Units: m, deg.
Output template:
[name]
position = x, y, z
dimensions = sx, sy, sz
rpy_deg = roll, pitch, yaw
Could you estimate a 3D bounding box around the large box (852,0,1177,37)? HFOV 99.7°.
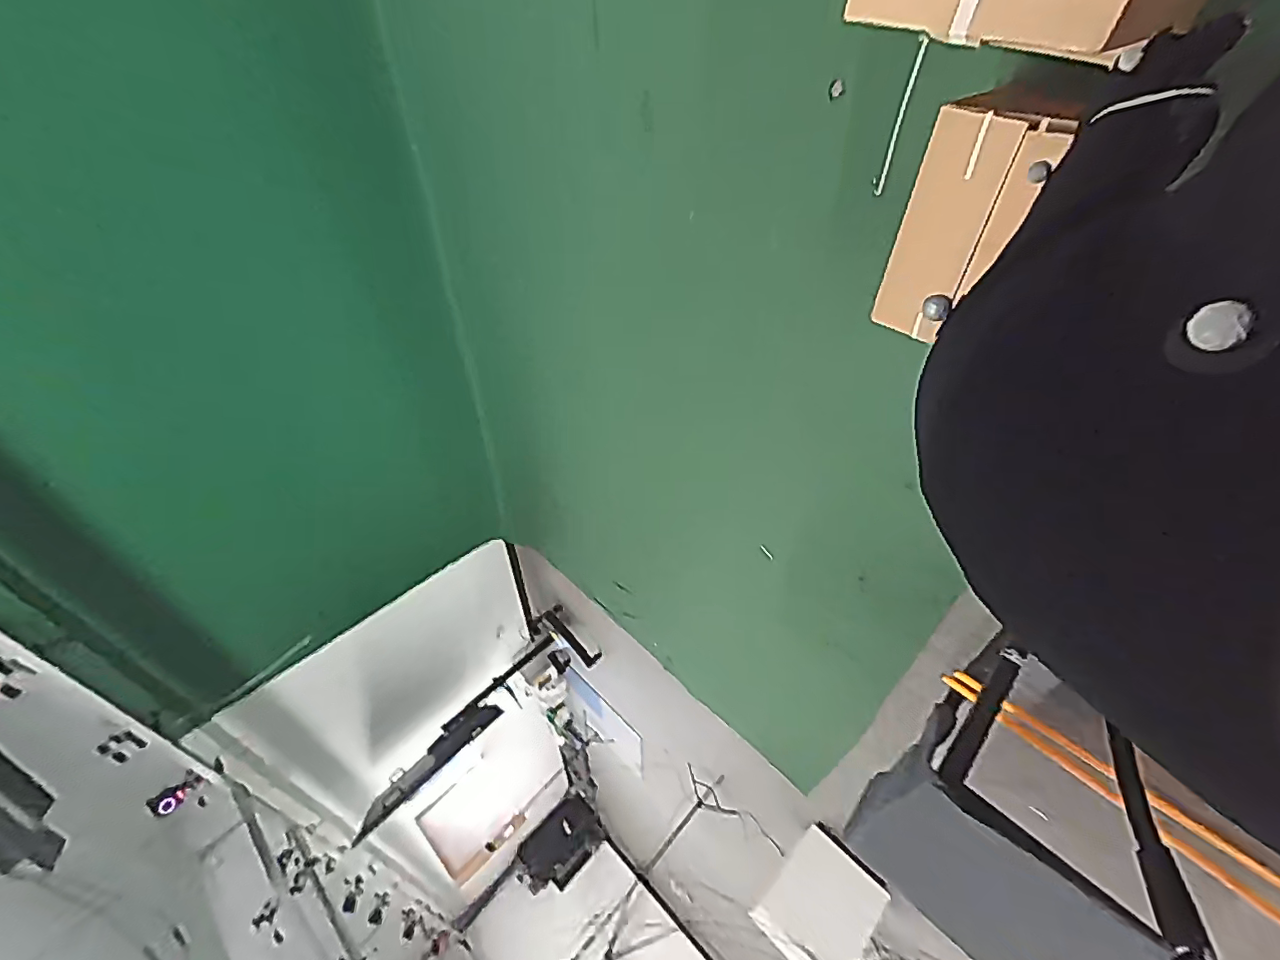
[large box]
position = 0.499, -0.755, 0.588
dimensions = 0.320, 0.320, 0.408
rpy_deg = 35, 142, 27
